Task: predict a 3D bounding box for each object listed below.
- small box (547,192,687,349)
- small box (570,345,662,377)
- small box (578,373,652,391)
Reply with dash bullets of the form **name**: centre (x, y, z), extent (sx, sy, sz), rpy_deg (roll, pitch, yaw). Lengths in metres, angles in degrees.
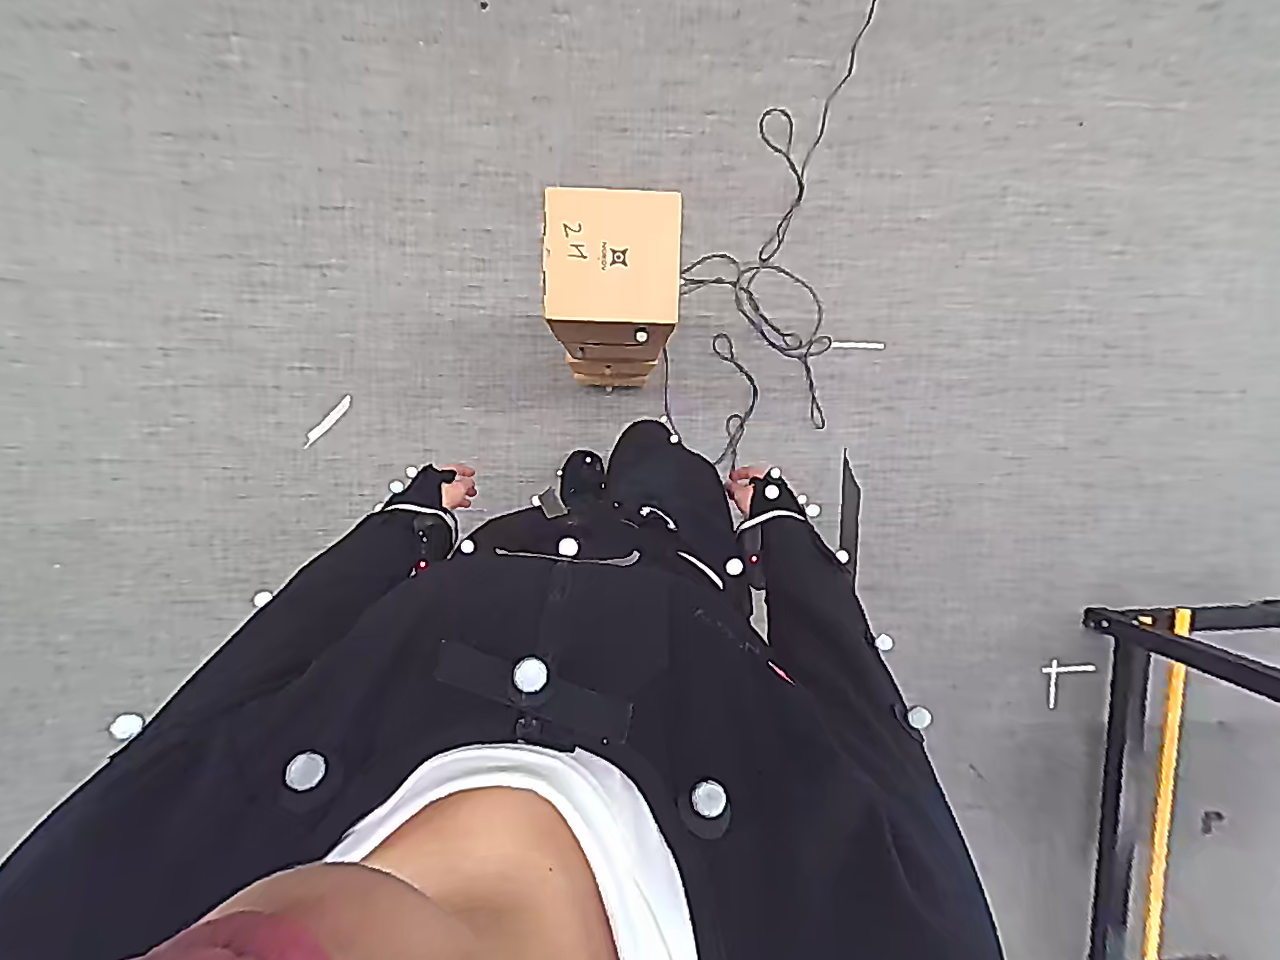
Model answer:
- **small box**: centre (-0.033, -0.285, 0.769), extent (0.179, 0.176, 0.168), rpy_deg (2, 94, -1)
- **small box**: centre (-0.047, -0.301, 1.098), extent (0.179, 0.176, 0.168), rpy_deg (1, 95, -2)
- **small box**: centre (-0.056, -0.306, 1.260), extent (0.168, 0.176, 0.179), rpy_deg (1, 96, -2)
